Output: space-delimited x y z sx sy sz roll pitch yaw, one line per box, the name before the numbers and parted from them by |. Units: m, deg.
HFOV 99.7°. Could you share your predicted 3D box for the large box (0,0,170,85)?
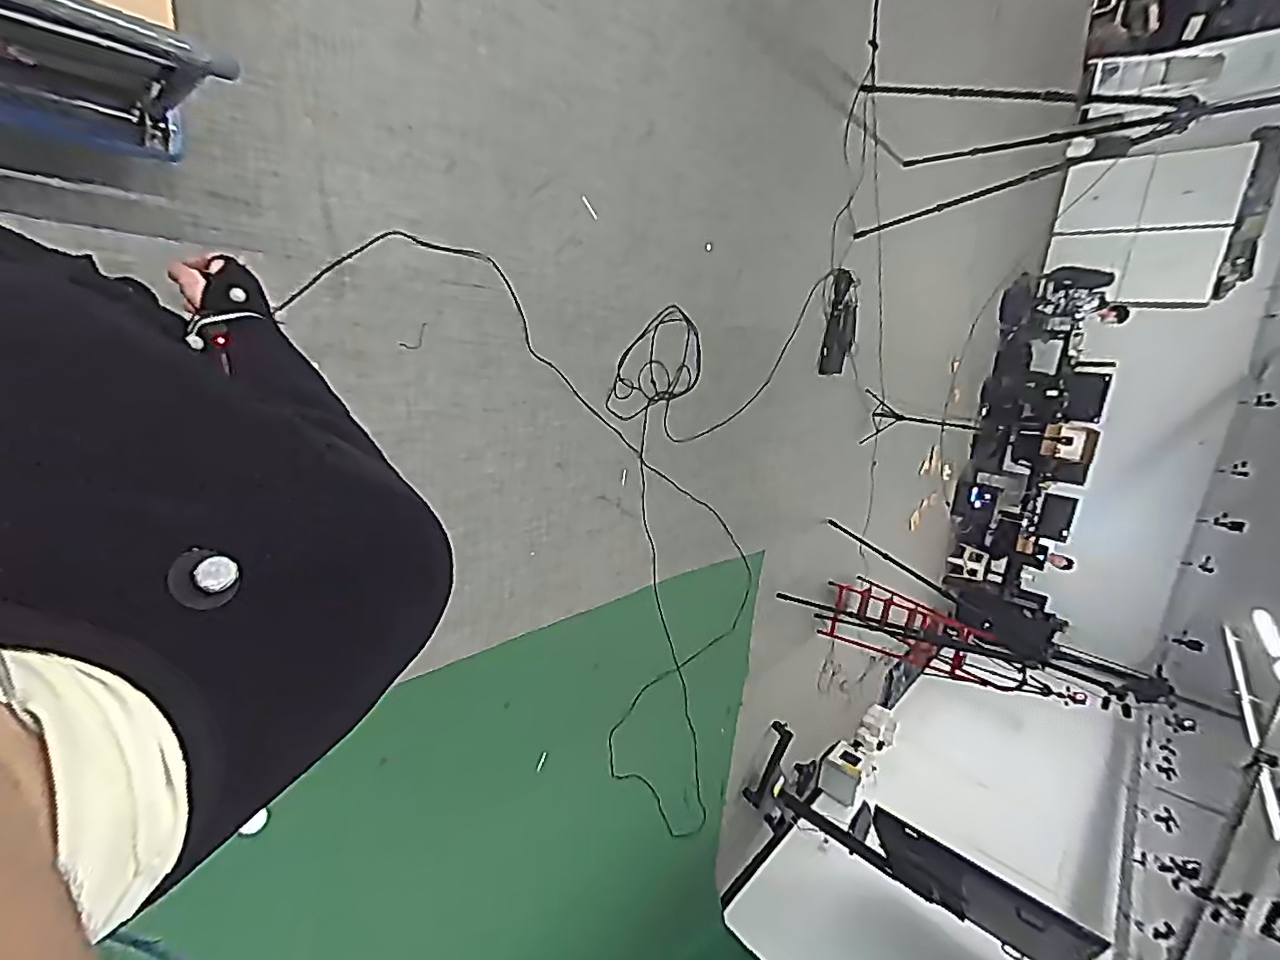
large box | -0.903 -0.858 0.746 0.320 0.320 0.408 -12 112 -45
